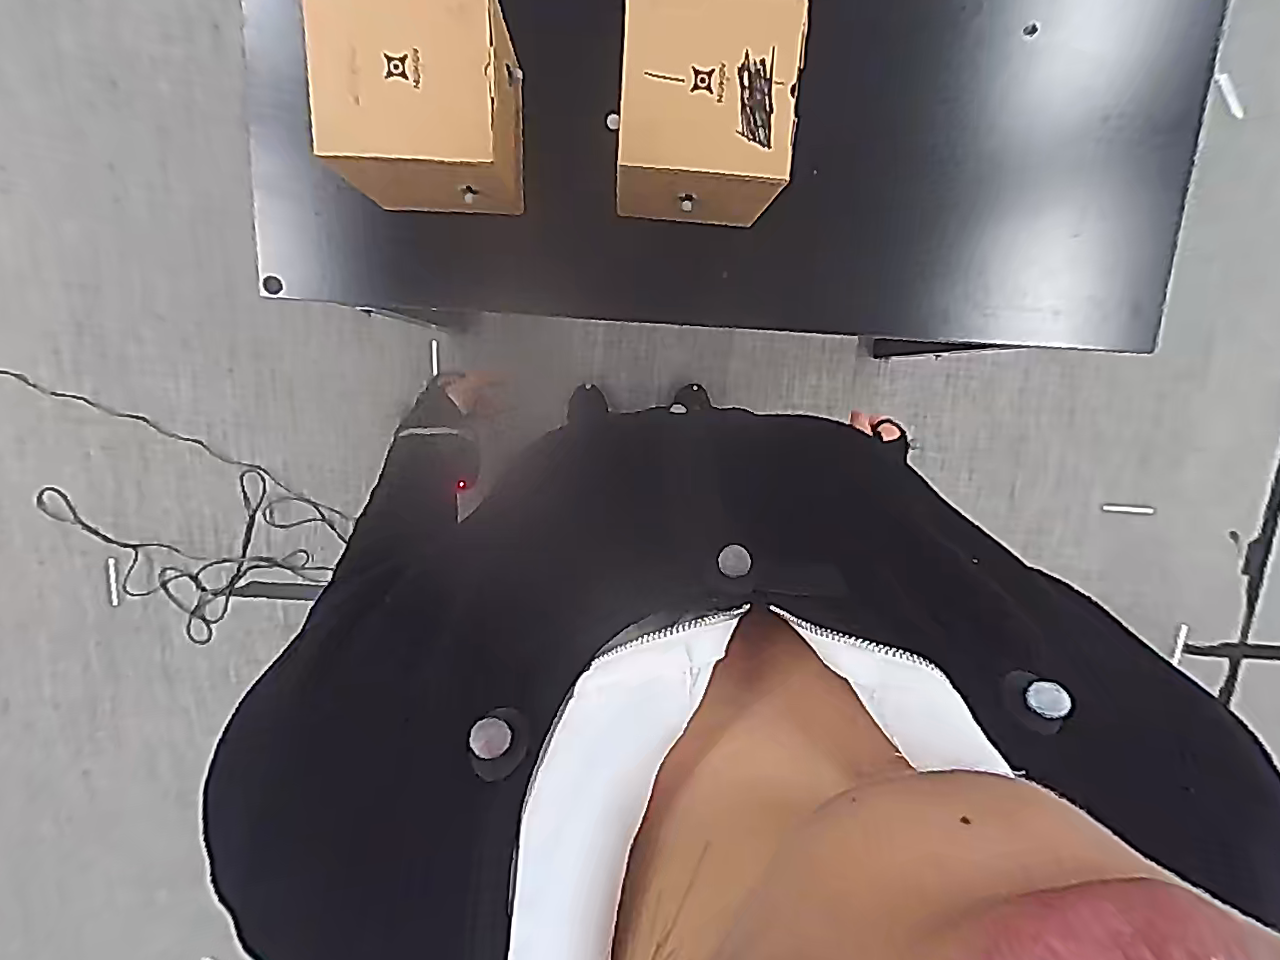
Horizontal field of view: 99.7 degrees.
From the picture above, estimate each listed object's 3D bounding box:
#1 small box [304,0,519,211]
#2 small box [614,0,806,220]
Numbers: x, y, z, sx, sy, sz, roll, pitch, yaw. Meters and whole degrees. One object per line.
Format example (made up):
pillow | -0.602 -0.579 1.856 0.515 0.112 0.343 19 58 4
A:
small box | -0.231 -0.410 0.594 0.179 0.176 0.168 0 100 -2
small box | 0.064 -0.405 0.606 0.179 0.176 0.168 4 100 -2
